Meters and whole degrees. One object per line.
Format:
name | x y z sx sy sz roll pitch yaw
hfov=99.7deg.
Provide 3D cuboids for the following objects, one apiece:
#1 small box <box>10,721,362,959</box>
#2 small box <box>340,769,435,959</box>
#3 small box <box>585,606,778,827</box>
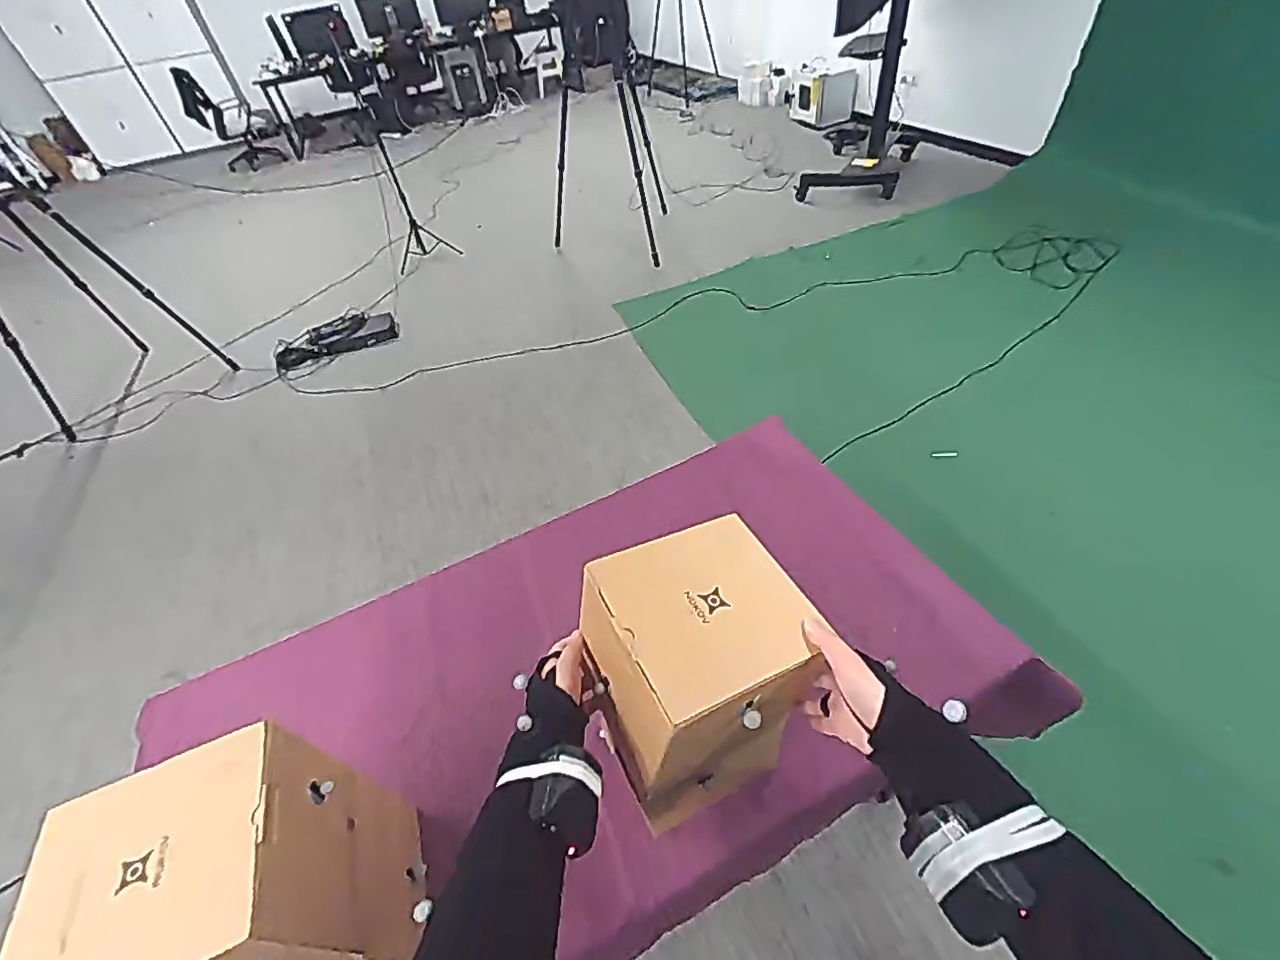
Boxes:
small box | -0.363 0.347 0.469 0.179 0.176 0.168 -21 46 -10
small box | -0.343 0.460 0.586 0.168 0.176 0.179 -23 47 -11
small box | 0.052 0.296 0.674 0.179 0.176 0.168 -23 47 -12
